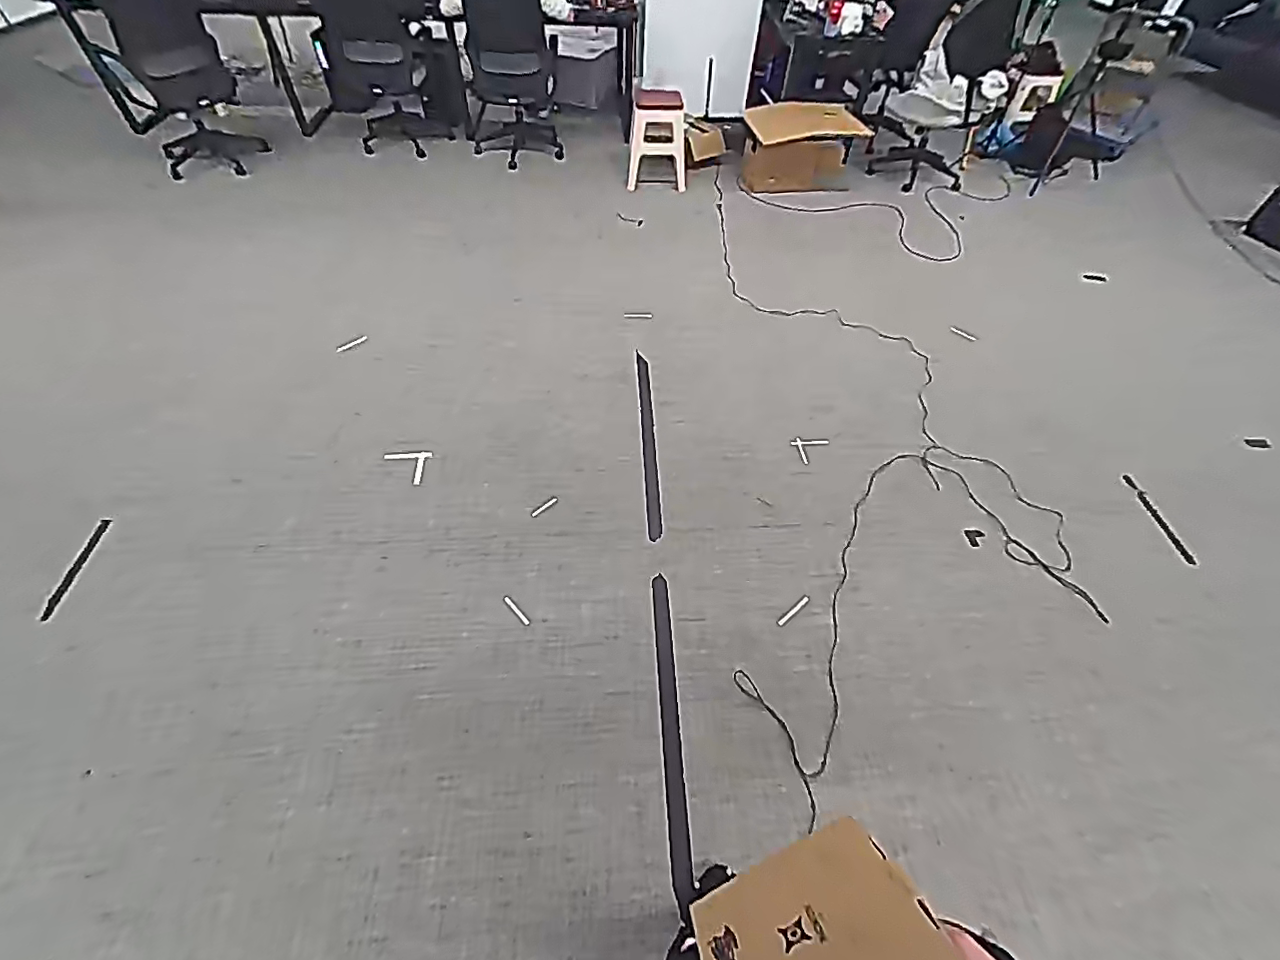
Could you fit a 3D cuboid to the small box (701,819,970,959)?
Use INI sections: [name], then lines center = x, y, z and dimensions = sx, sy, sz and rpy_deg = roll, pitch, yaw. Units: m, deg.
[small box]
center = 0.173, 0.434, 0.436
dimensions = 0.179, 0.168, 0.176
rpy_deg = -25, 90, -4
